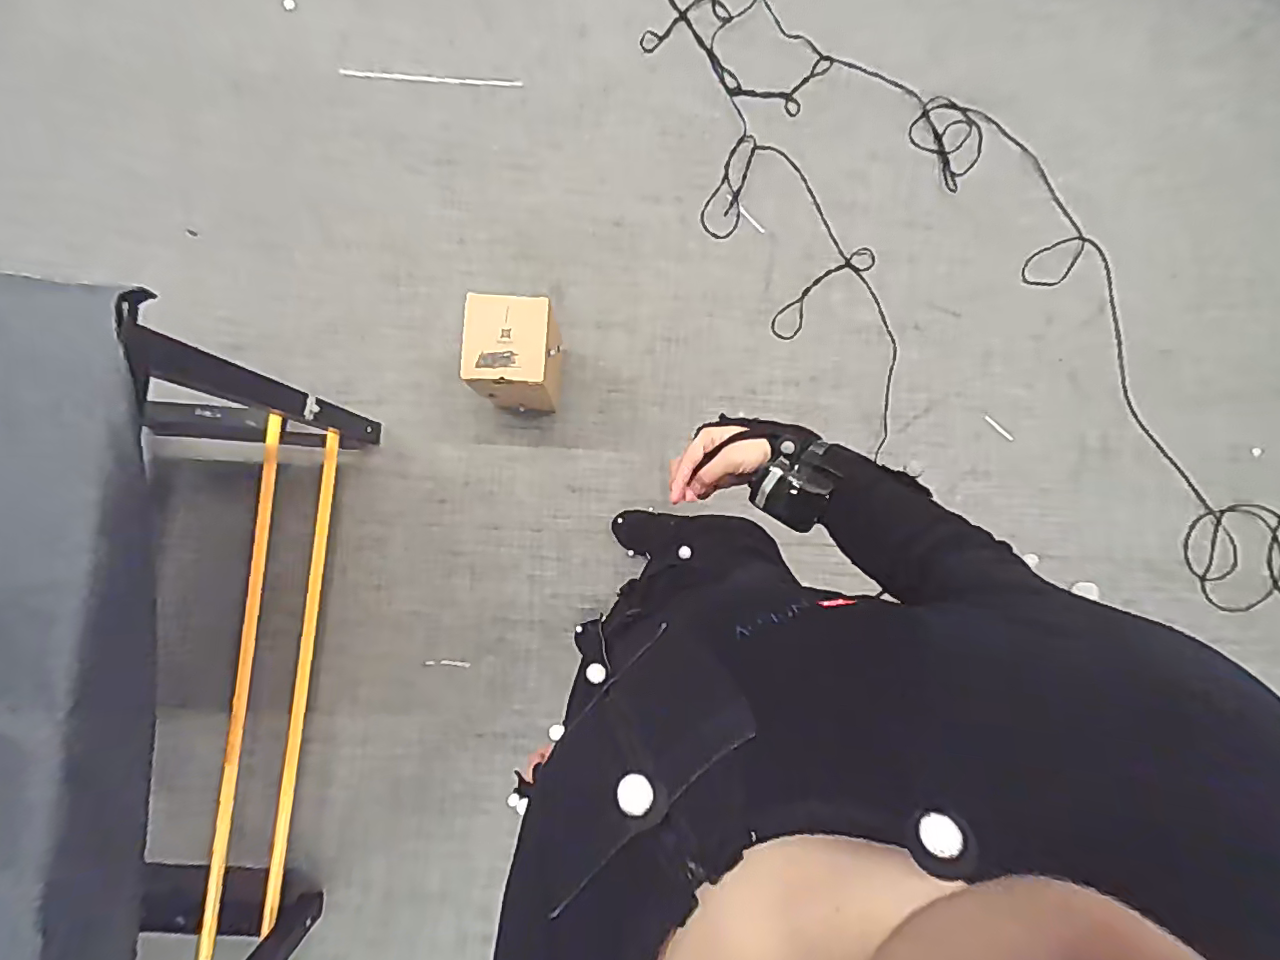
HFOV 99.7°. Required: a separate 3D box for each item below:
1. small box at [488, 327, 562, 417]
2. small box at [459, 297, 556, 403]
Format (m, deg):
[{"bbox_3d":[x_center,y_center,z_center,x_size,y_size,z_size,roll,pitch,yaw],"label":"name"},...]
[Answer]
[{"bbox_3d":[-0.282,-0.263,1.303,0.168,0.176,0.179,5,84,-2],"label":"small box"},{"bbox_3d":[-0.271,-0.265,1.139,0.168,0.176,0.179,3,84,-3],"label":"small box"}]
